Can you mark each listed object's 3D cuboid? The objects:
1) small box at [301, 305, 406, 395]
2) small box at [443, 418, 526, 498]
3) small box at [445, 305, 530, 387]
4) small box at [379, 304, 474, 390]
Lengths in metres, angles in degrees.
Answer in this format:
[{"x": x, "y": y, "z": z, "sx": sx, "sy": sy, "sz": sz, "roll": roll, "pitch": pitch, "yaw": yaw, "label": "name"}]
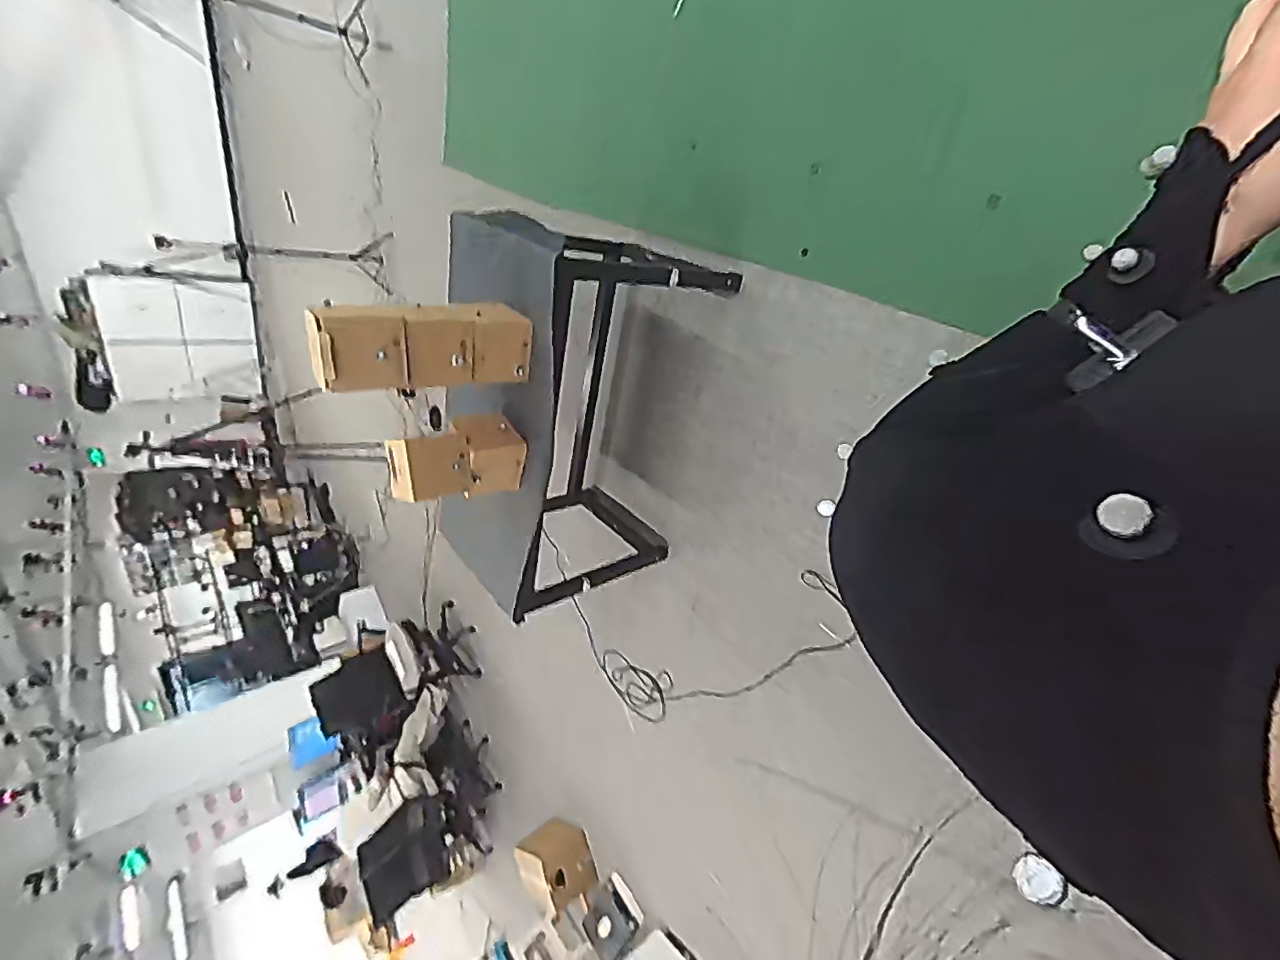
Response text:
[{"x": -0.649, "y": -0.301, "z": 1.232, "sx": 0.179, "sy": 0.176, "sz": 0.168, "roll": 30, "pitch": 124, "yaw": 43, "label": "small box"}, {"x": -0.458, "y": -0.071, "z": 1.587, "sx": 0.179, "sy": 0.176, "sz": 0.168, "roll": 46, "pitch": 131, "yaw": 33, "label": "small box"}, {"x": -0.408, "y": -0.364, "z": 1.445, "sx": 0.179, "sy": 0.176, "sz": 0.168, "roll": 38, "pitch": 128, "yaw": 39, "label": "small box"}, {"x": -0.529, "y": -0.333, "z": 1.341, "sx": 0.179, "sy": 0.176, "sz": 0.168, "roll": 33, "pitch": 126, "yaw": 40, "label": "small box"}]
